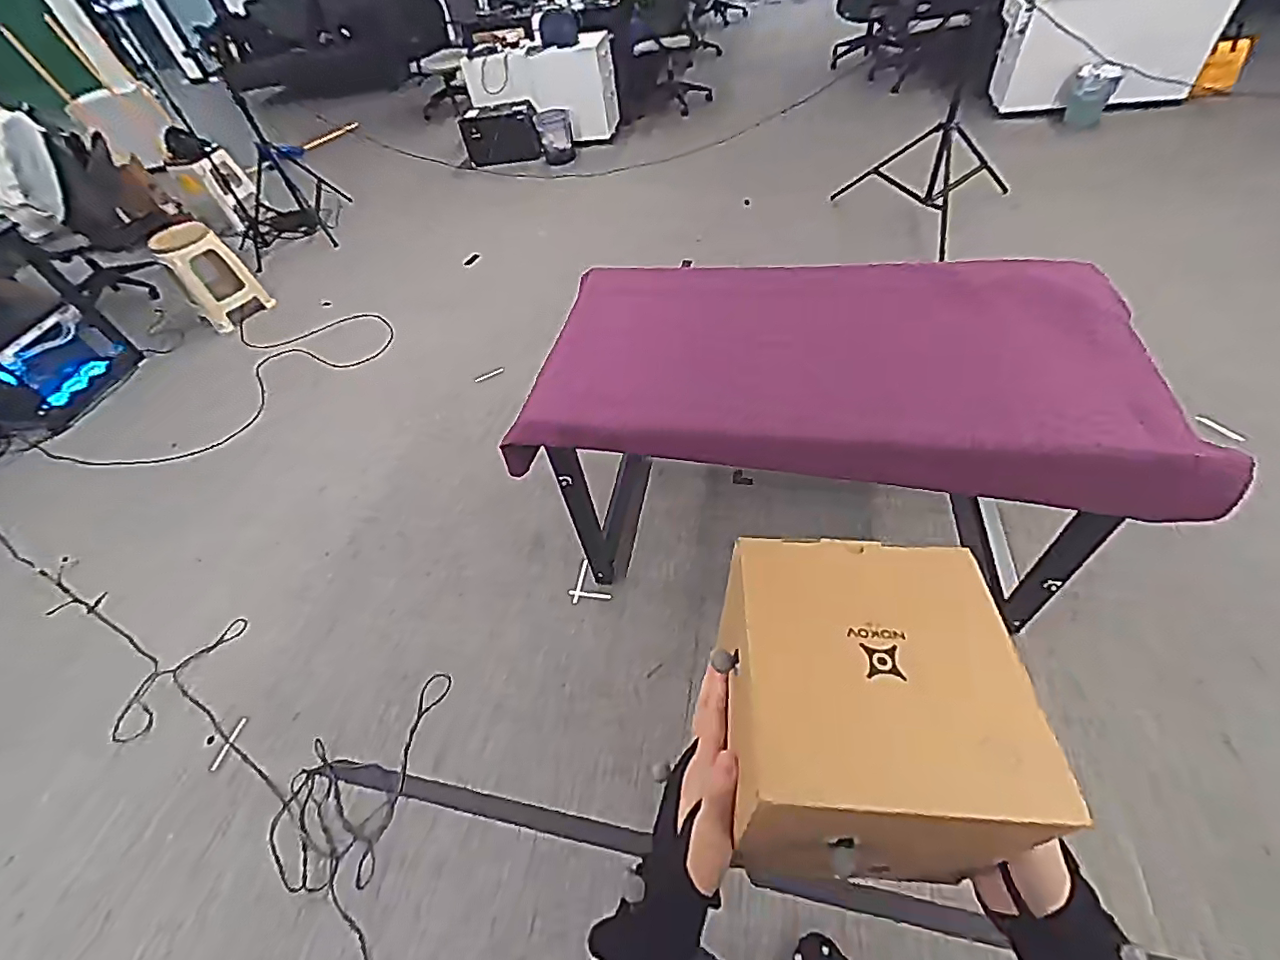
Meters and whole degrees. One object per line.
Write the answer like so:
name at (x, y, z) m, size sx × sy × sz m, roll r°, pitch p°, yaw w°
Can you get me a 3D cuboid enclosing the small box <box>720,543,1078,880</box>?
small box at (0.149, 0.168, 0.392) m, size 0.168 × 0.176 × 0.179 m, roll 2°, pitch 44°, yaw 3°
